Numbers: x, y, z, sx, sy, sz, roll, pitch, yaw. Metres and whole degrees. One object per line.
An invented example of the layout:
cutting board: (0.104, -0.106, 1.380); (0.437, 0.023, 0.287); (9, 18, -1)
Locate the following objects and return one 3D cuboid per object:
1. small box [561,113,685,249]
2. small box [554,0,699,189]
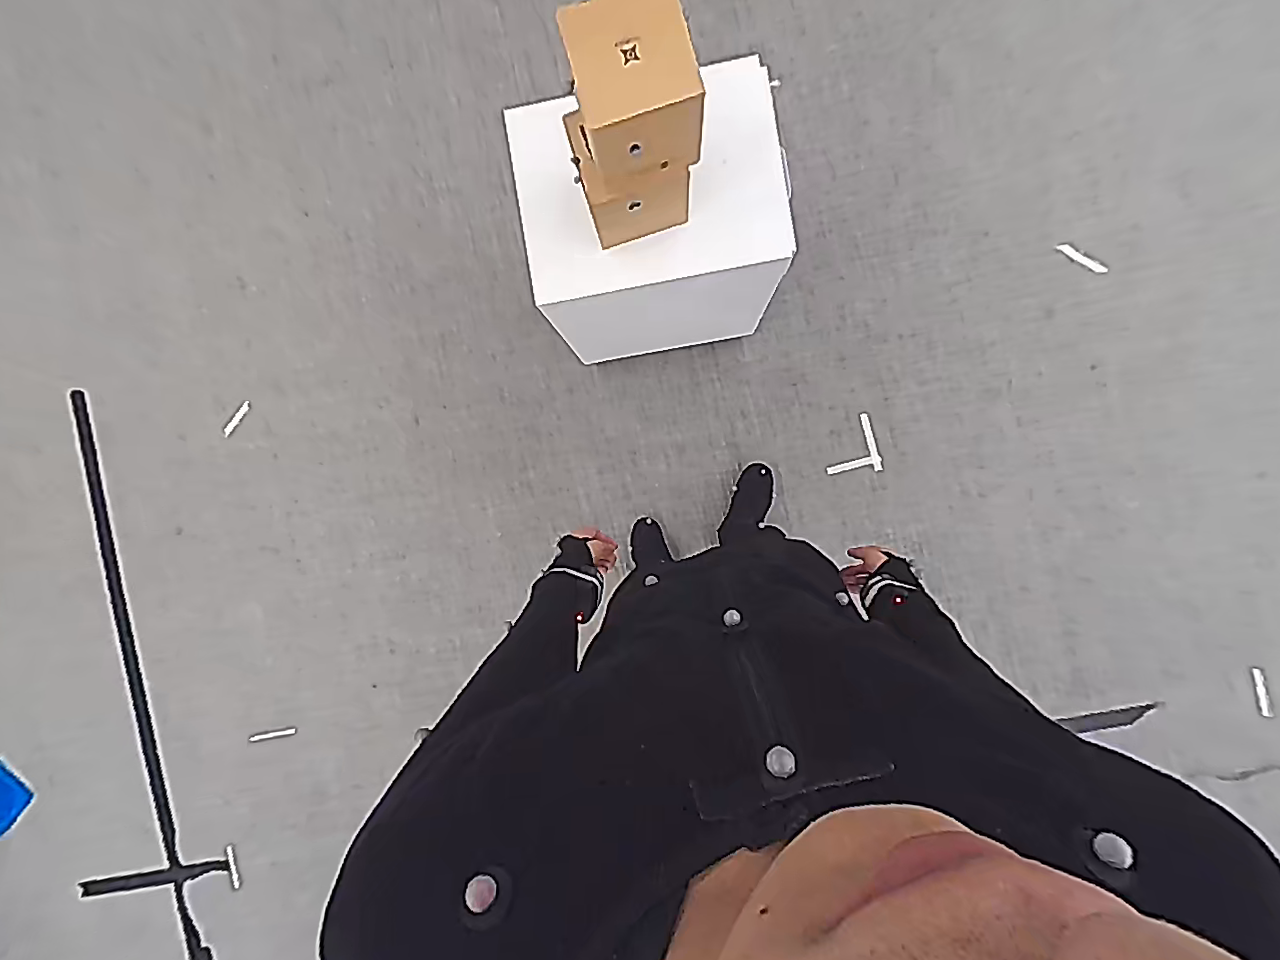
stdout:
small box: (-0.022, -0.546, 0.972); (0.179, 0.176, 0.168); (-17, 89, 3)
small box: (-0.012, -0.570, 0.809); (0.168, 0.176, 0.179); (-16, 88, 3)
